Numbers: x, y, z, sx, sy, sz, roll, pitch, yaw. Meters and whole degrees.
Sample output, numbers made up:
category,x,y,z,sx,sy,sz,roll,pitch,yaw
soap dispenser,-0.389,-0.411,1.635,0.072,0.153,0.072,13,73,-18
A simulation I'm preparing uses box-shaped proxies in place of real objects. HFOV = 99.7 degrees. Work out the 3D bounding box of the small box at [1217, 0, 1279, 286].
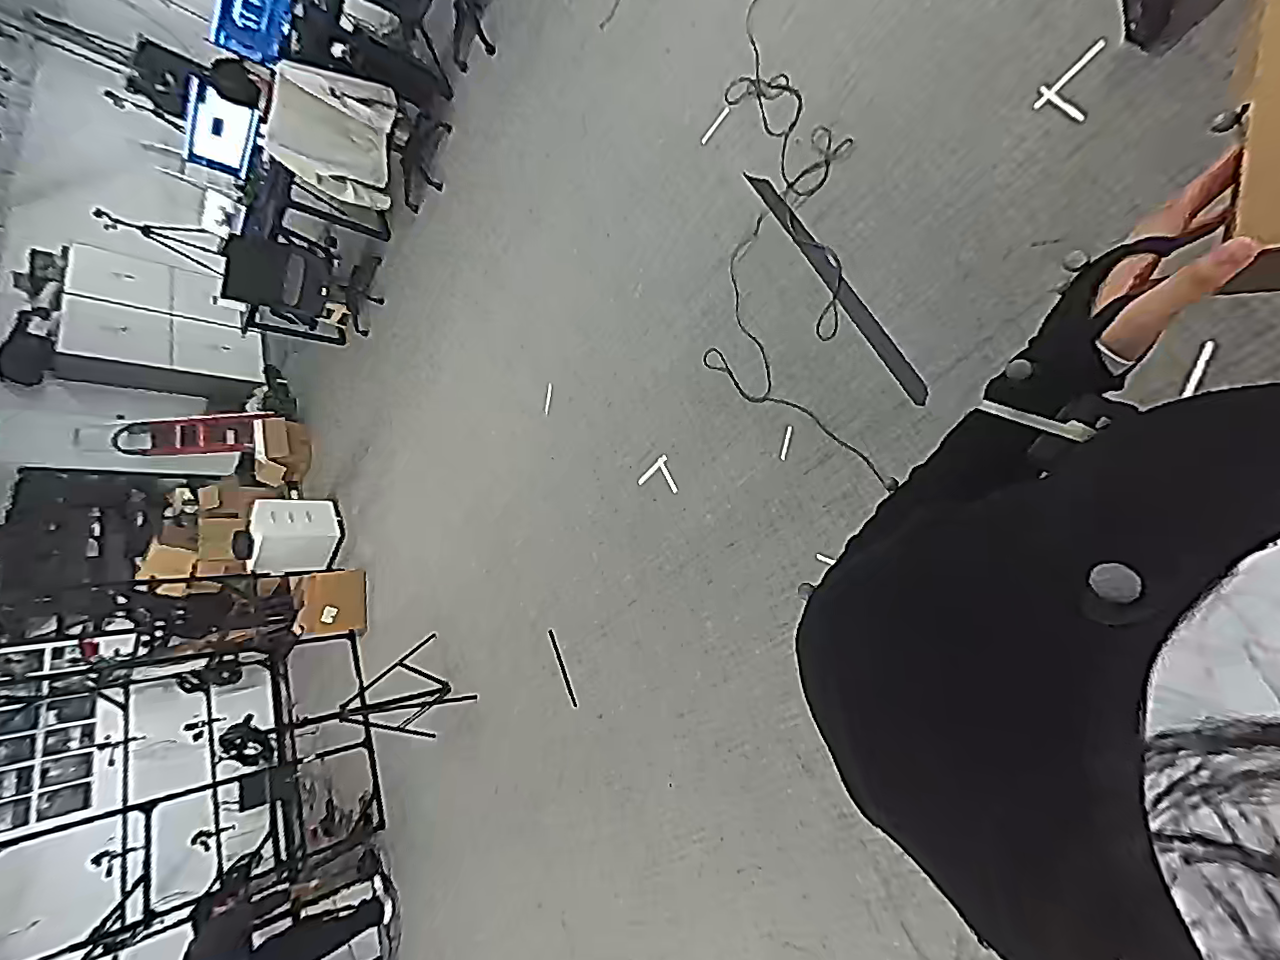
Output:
category,x,y,z,sx,sy,sz,roll,pitch,yaw
small box,0.454,-0.222,0.300,0.168,0.176,0.179,7,100,43
